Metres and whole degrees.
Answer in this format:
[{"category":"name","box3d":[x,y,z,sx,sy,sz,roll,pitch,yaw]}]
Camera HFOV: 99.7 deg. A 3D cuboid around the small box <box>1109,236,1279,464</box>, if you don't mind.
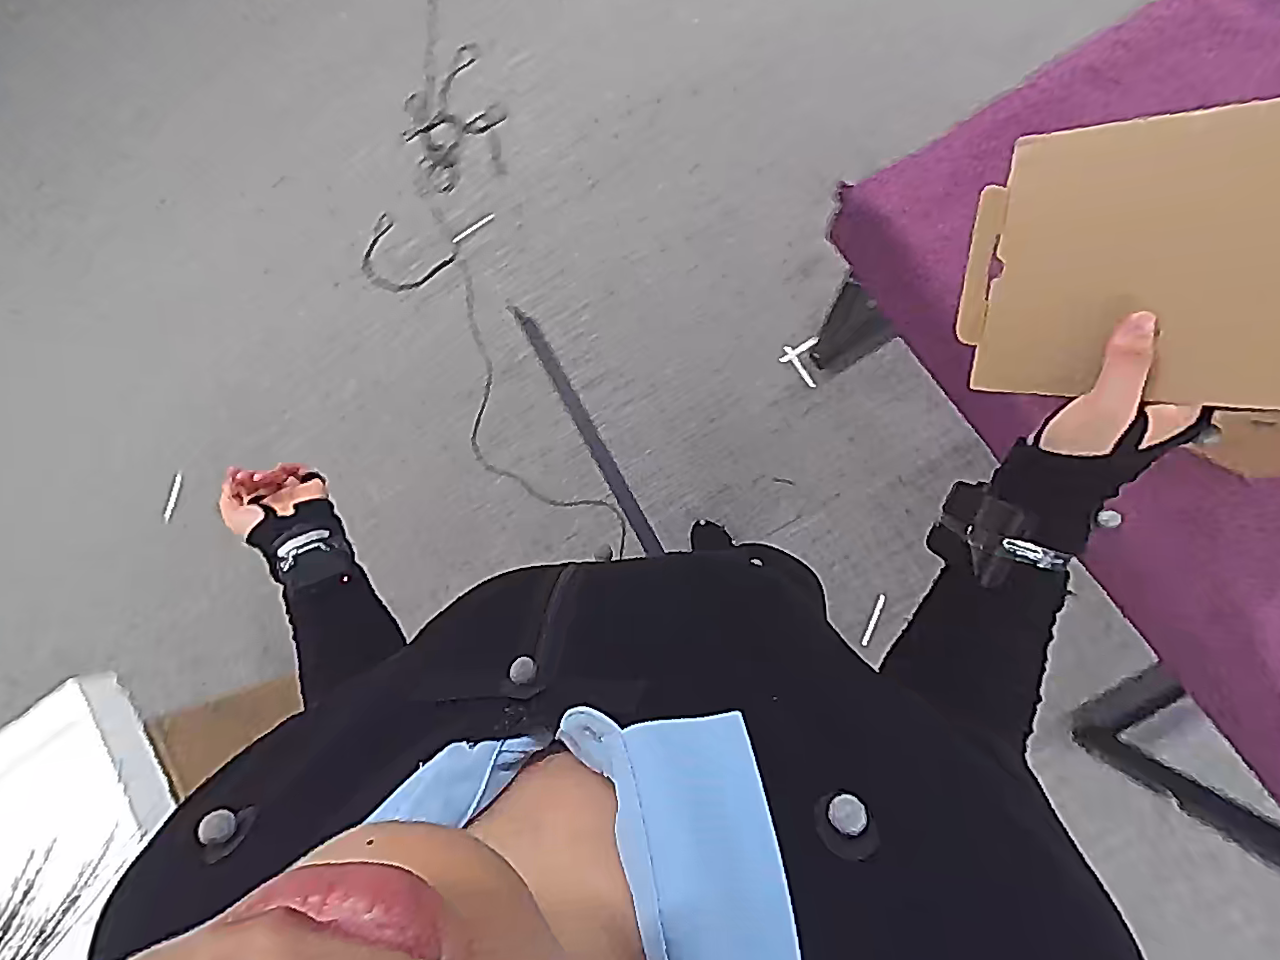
[{"category":"small box","box3d":[0.697,-0.131,0.606,0.179,0.176,0.168,32,90,10]}]
